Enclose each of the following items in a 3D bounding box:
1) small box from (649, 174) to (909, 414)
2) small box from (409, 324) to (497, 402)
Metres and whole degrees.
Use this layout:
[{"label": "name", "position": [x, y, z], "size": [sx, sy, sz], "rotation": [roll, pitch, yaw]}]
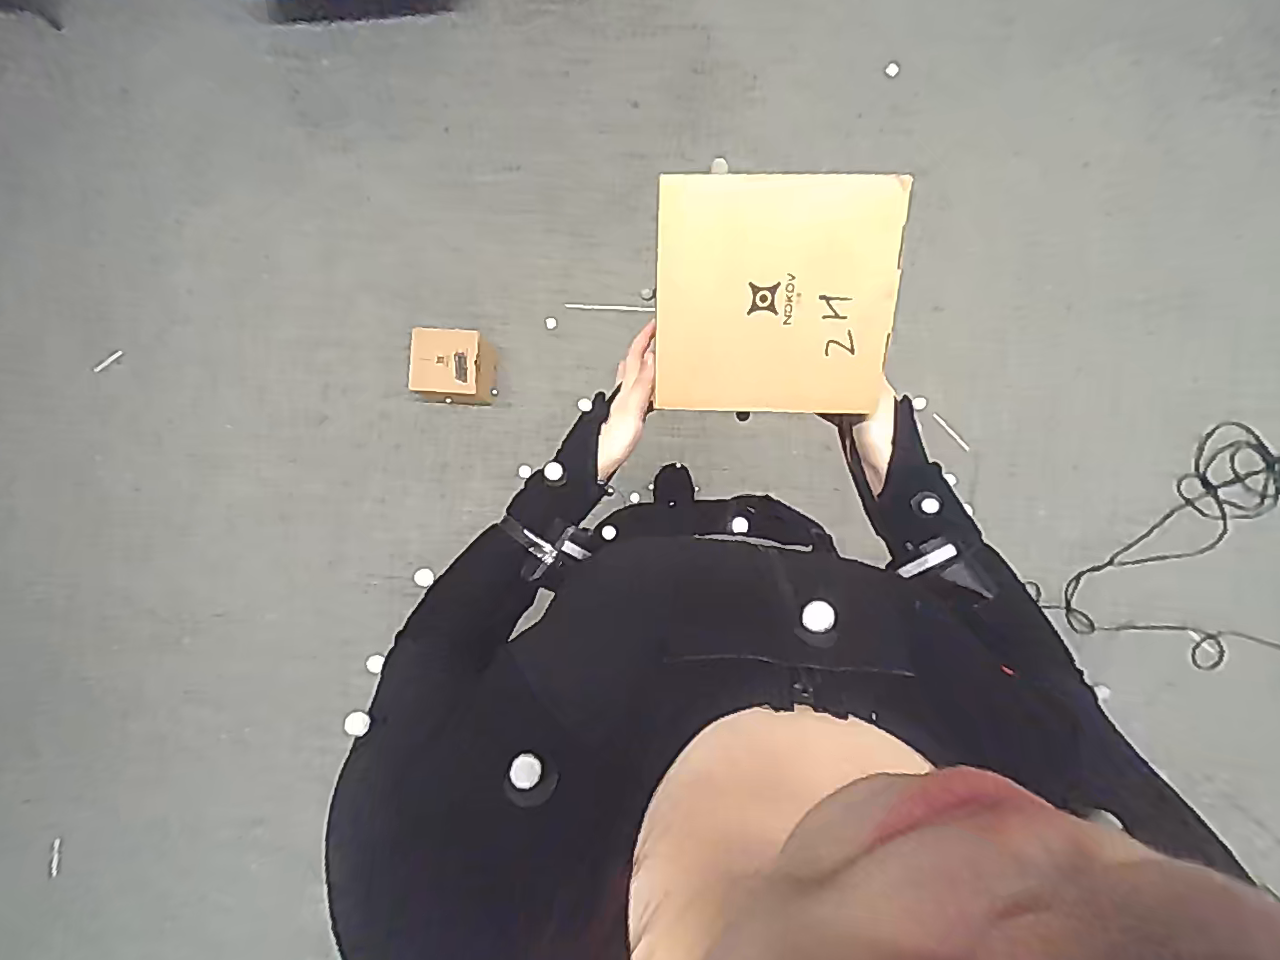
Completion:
[{"label": "small box", "position": [0.099, -0.156, 0.470], "size": [0.179, 0.176, 0.168], "rotation": [1, 109, 2]}, {"label": "small box", "position": [-0.492, -0.306, 1.447], "size": [0.179, 0.176, 0.168], "rotation": [4, 89, 2]}]
